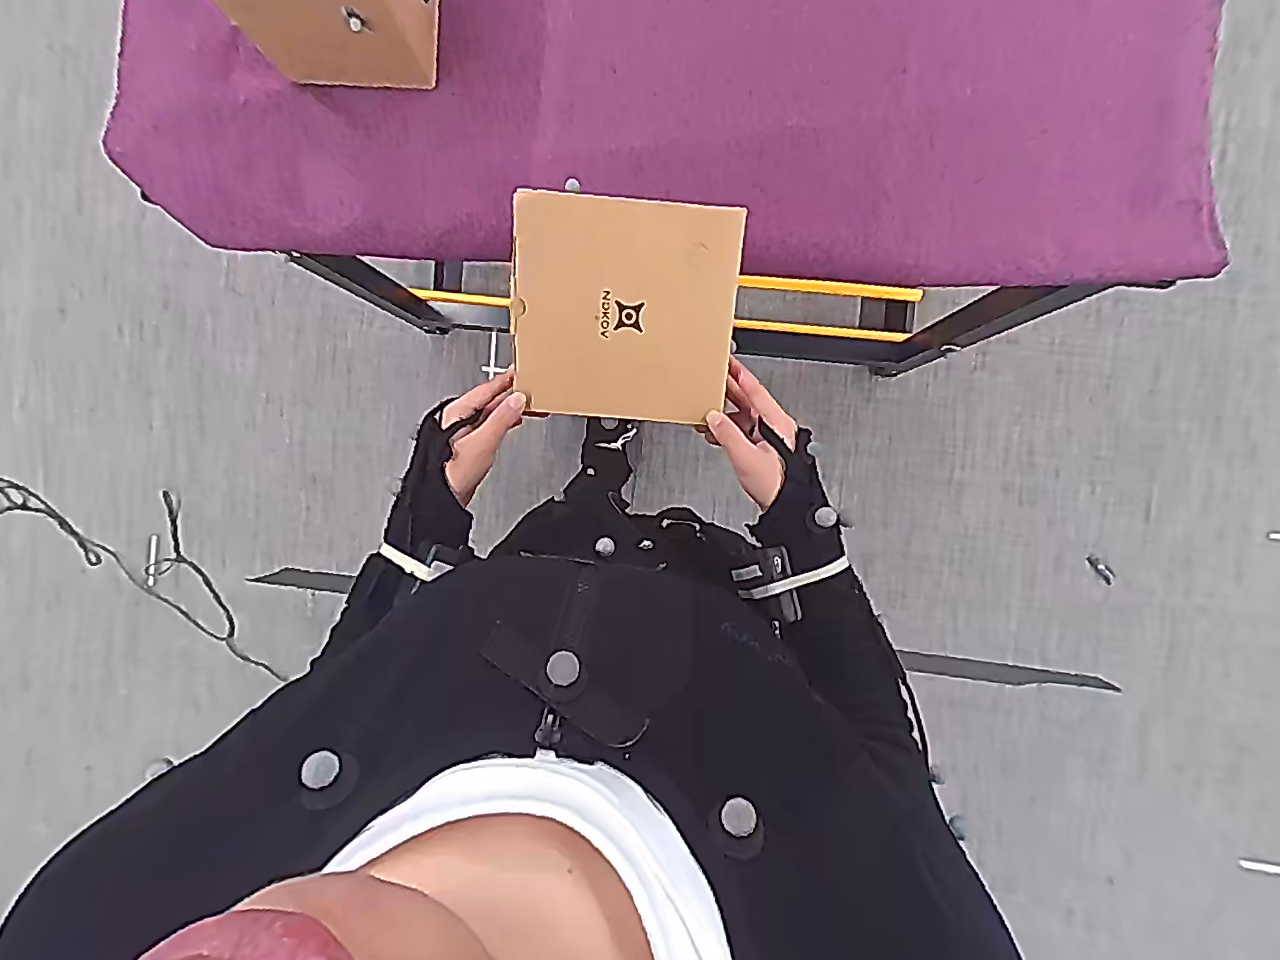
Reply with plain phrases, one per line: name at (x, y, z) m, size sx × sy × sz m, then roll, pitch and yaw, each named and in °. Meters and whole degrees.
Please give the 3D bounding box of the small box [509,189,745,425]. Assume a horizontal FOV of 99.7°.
small box at (-0.013, -0.153, 0.496) m, size 0.179 × 0.176 × 0.168 m, roll 5°, pitch 107°, yaw 1°
